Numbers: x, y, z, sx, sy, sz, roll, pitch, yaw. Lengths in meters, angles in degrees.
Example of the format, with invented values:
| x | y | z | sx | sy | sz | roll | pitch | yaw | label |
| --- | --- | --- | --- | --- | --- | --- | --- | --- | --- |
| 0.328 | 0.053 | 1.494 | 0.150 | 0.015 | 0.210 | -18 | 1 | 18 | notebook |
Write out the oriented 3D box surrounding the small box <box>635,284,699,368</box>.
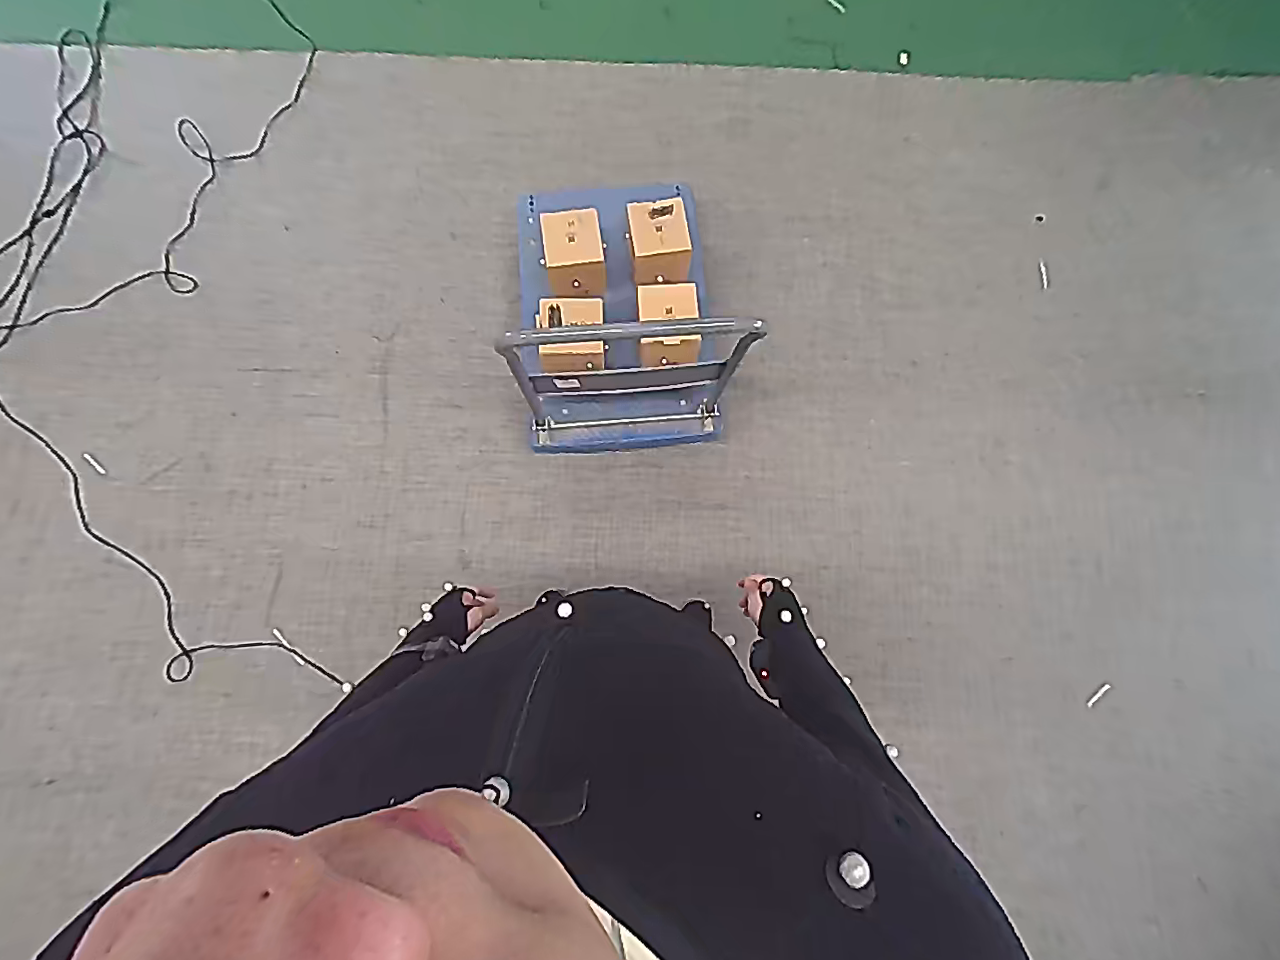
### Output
| x | y | z | sx | sy | sz | roll | pitch | yaw | label |
| --- | --- | --- | --- | --- | --- | --- | --- | --- | --- |
| 0.073 | -0.442 | 1.565 | 0.168 | 0.176 | 0.179 | -4 | 78 | -3 | small box |

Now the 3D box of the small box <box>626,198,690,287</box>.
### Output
| x | y | z | sx | sy | sz | roll | pitch | yaw | label |
| --- | --- | --- | --- | --- | --- | --- | --- | --- | --- |
| 0.047 | -0.705 | 1.620 | 0.168 | 0.176 | 0.179 | -8 | 79 | -3 | small box |

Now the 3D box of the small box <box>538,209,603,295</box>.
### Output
| x | y | z | sx | sy | sz | roll | pitch | yaw | label |
| --- | --- | --- | --- | --- | --- | --- | --- | --- | --- |
| -0.202 | -0.667 | 1.605 | 0.168 | 0.176 | 0.179 | -8 | 78 | -4 | small box |
